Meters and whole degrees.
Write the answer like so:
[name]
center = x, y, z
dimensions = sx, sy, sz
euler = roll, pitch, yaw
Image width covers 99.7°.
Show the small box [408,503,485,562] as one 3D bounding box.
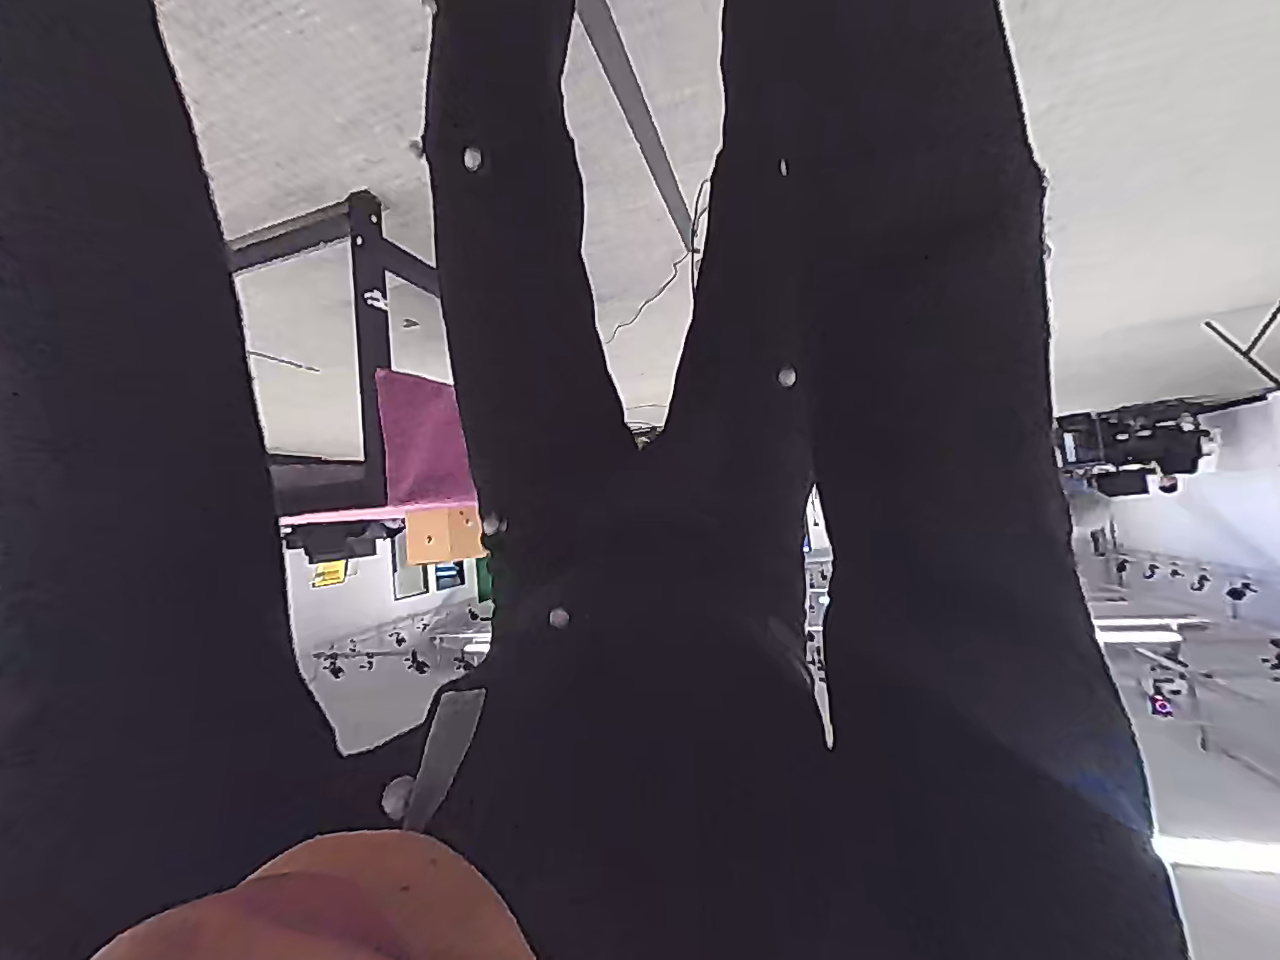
[small box]
center = -0.623, 0.167, 1.740
dimensions = 0.179, 0.176, 0.168
euler = -8, 176, 22
